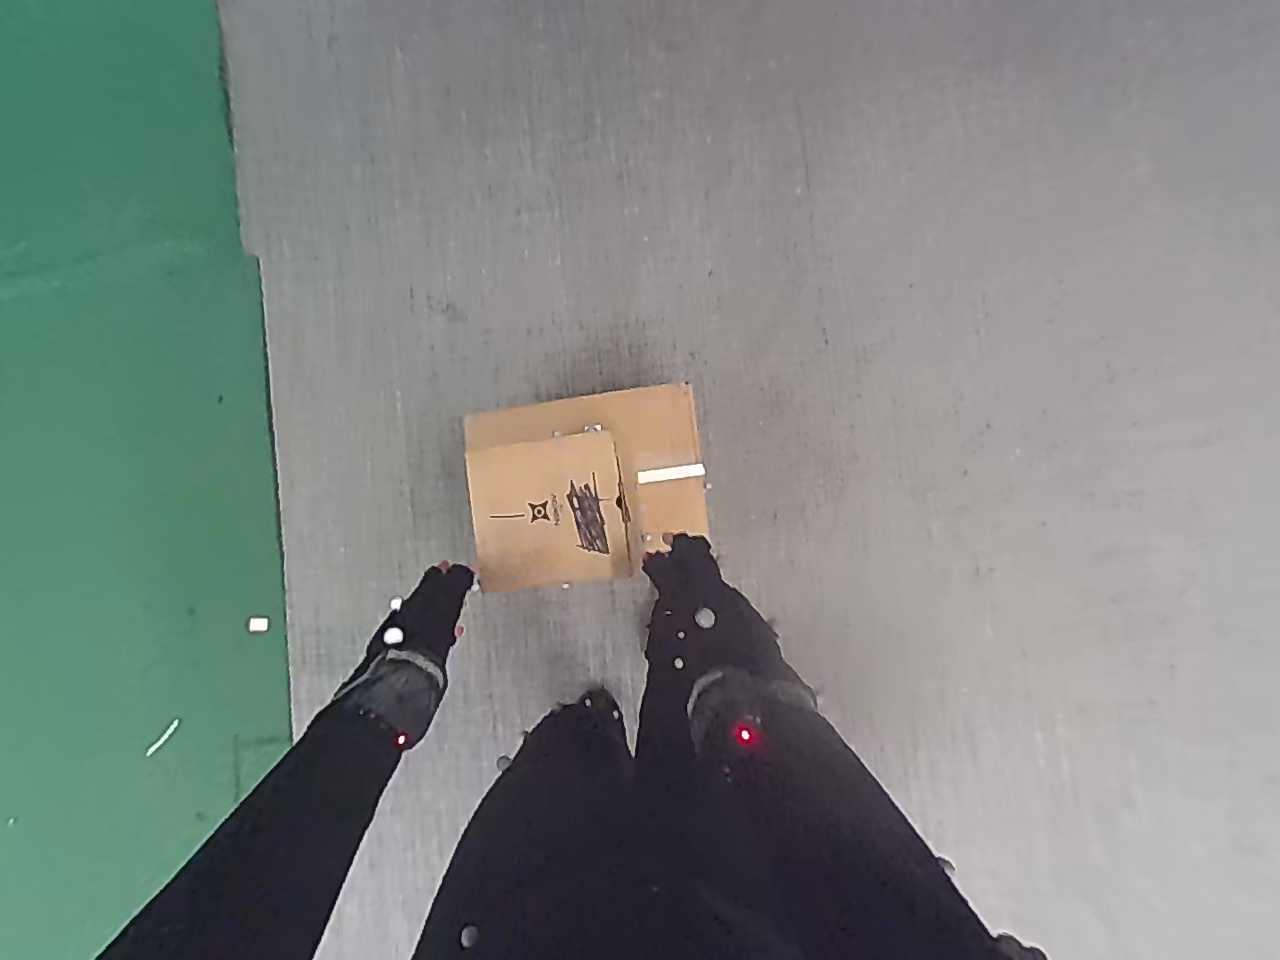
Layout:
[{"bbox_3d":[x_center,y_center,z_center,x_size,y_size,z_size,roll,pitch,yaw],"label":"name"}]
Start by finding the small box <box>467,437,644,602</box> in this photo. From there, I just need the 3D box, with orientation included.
[{"bbox_3d":[-0.092,0.045,0.684,0.179,0.176,0.168,-10,88,5],"label":"small box"}]
